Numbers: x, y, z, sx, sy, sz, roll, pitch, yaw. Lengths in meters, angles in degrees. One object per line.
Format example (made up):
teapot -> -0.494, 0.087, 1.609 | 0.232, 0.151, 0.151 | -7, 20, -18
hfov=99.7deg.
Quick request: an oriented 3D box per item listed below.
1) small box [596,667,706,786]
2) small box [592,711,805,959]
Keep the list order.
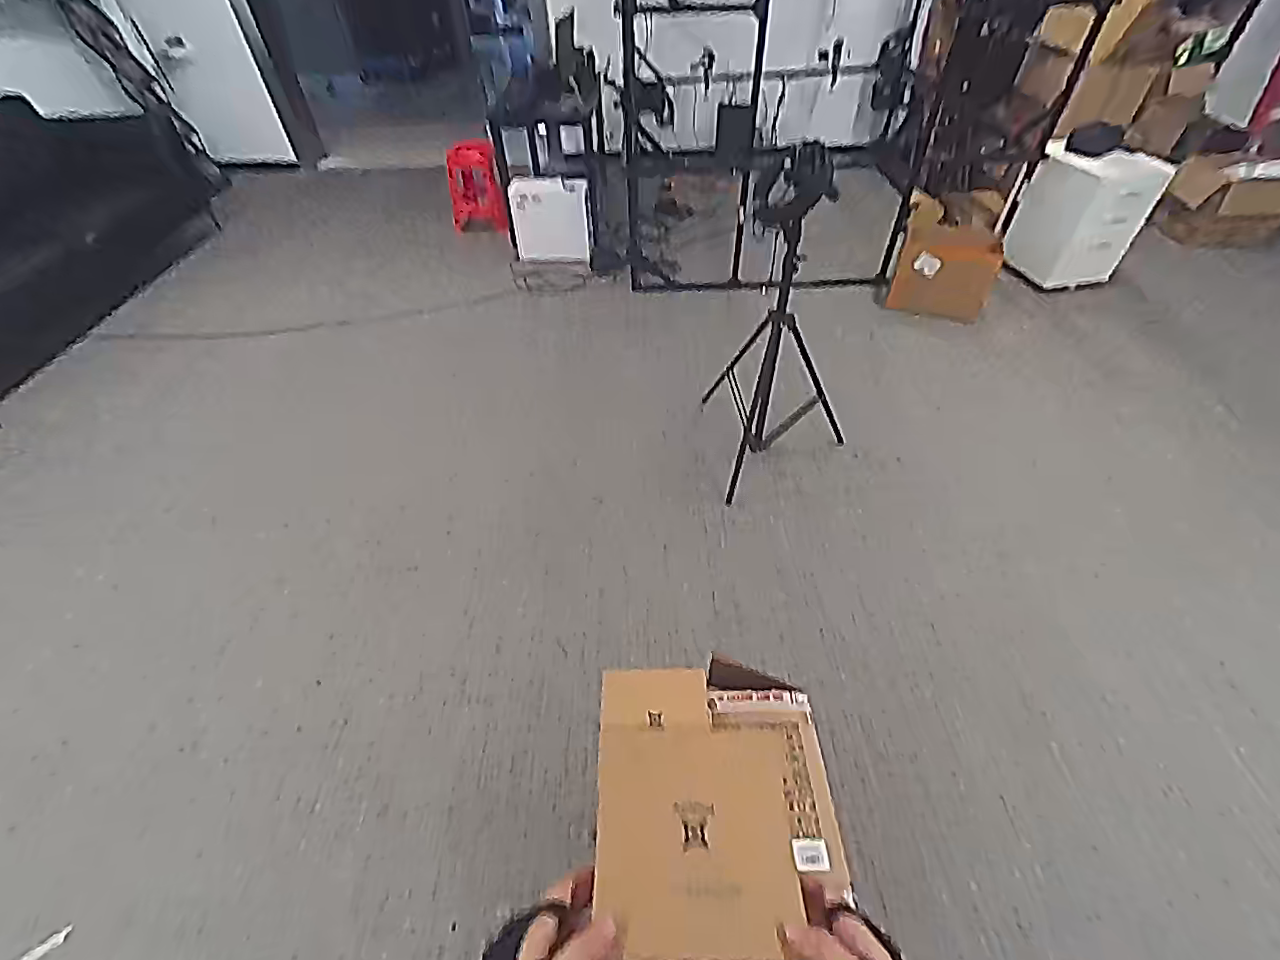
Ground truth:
small box -> 0.023, 0.422, 0.875 | 0.168, 0.176, 0.179 | -2, 48, 2
small box -> 0.041, 0.348, 0.521 | 0.168, 0.176, 0.179 | 1, 41, -2
